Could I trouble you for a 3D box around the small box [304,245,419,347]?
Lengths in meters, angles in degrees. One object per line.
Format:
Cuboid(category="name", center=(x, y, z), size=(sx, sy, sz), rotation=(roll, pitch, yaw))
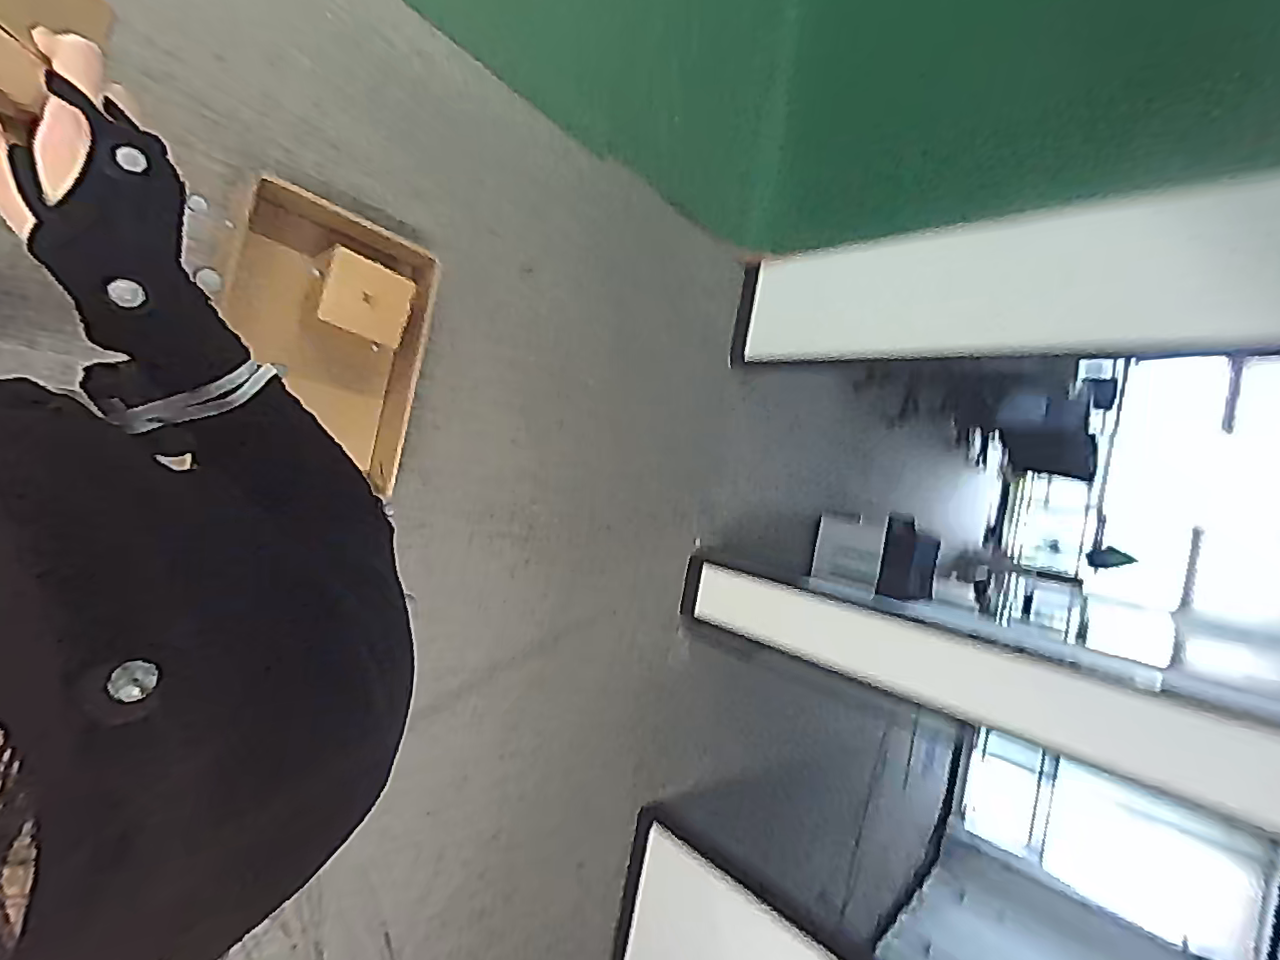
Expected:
Cuboid(category="small box", center=(-0.656, -0.417, 1.266), size=(0.179, 0.176, 0.168), rotation=(19, 85, -46))
